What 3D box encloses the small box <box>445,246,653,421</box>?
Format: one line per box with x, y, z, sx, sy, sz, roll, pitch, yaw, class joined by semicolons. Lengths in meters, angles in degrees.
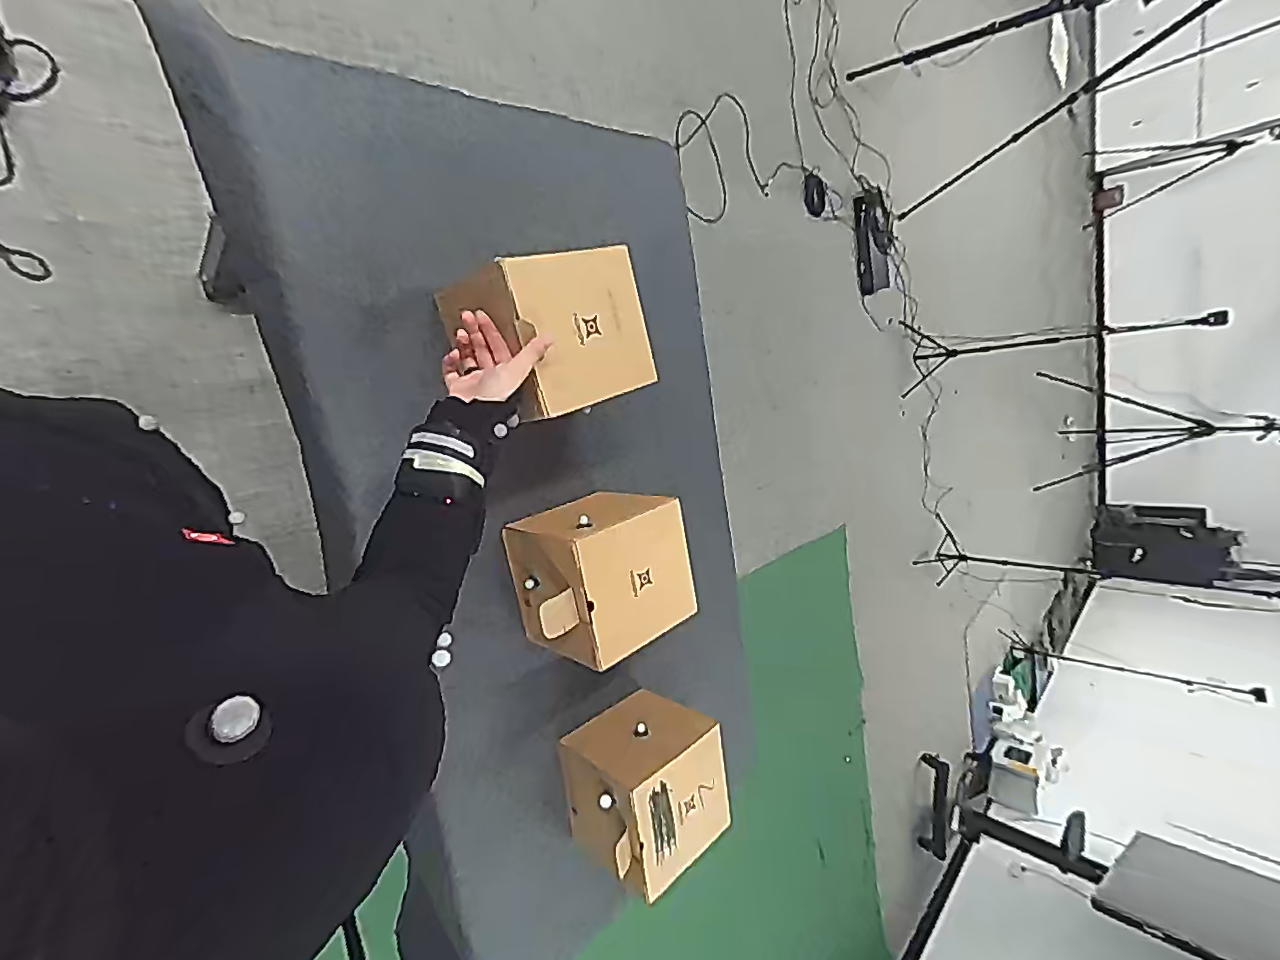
-0.116;-0.174;0.665;0.179;0.176;0.168;-28;112;-40;small box

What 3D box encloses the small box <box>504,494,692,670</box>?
-0.056;0.121;0.732;0.179;0.176;0.168;-20;106;-40;small box
